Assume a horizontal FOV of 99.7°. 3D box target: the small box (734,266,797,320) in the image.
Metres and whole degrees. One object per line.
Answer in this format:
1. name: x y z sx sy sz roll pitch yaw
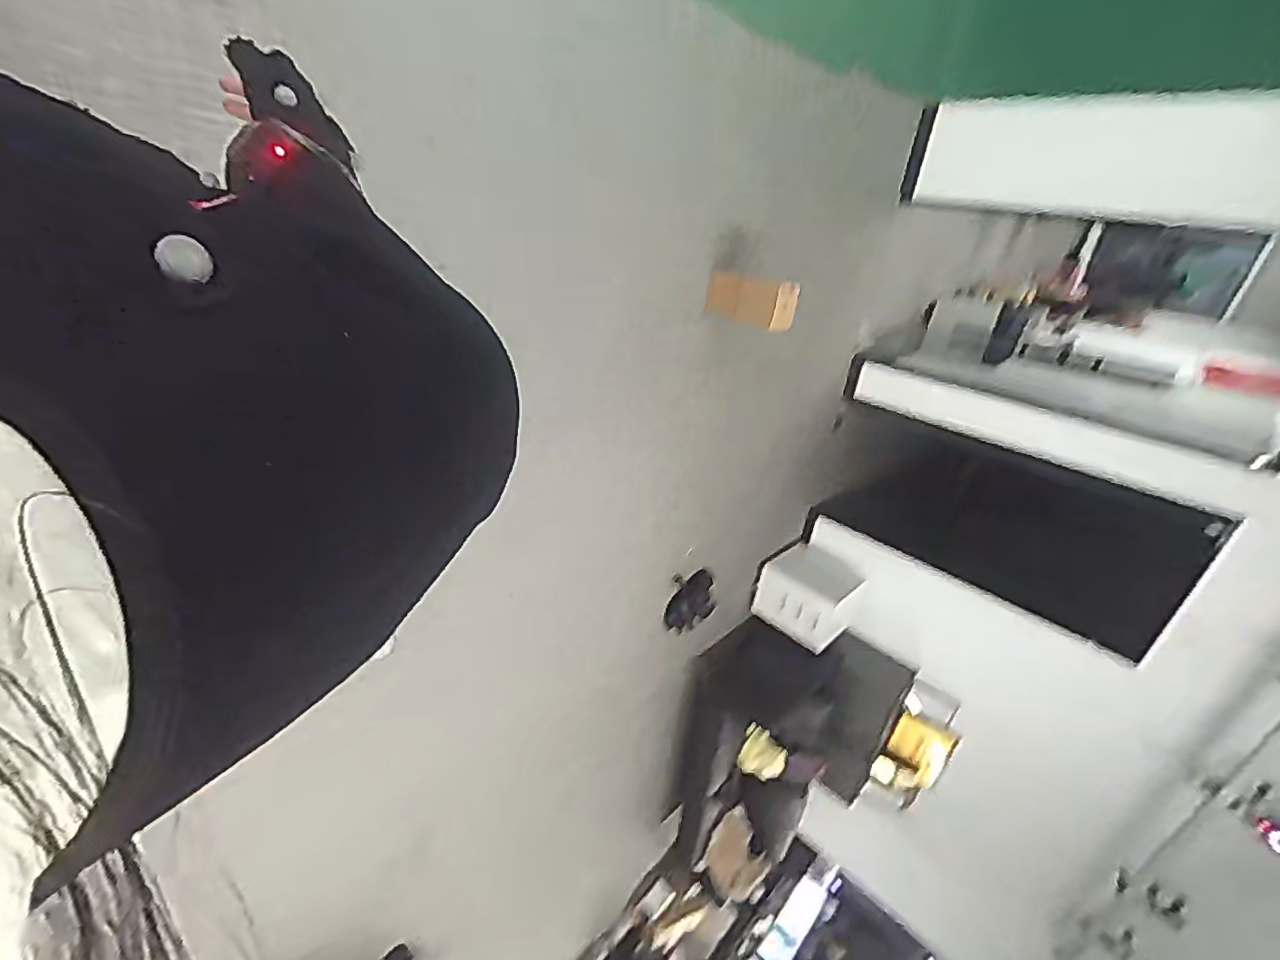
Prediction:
1. small box: 0.498 -0.753 2.173 0.168 0.176 0.179 -18 127 -44

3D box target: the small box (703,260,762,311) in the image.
1. small box: 0.383 -0.819 2.269 0.168 0.176 0.179 -21 126 -43
